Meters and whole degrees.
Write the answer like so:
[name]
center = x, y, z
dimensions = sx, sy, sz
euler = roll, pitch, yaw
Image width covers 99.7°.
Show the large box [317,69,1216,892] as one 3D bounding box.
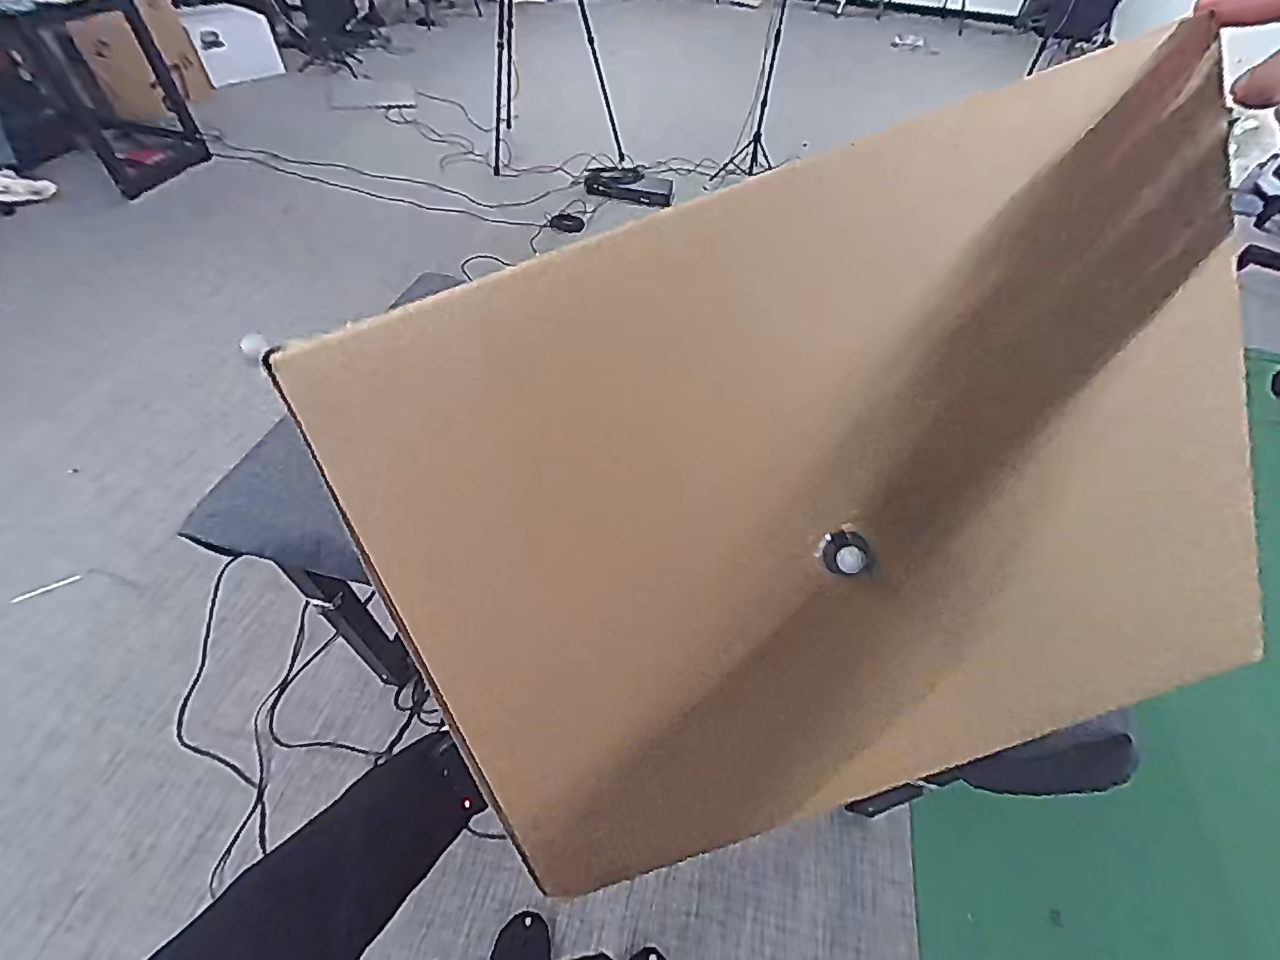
[large box]
center = 0.085, -0.005, 0.410
dimensions = 0.408, 0.320, 0.320
euler = -22, 14, 0
